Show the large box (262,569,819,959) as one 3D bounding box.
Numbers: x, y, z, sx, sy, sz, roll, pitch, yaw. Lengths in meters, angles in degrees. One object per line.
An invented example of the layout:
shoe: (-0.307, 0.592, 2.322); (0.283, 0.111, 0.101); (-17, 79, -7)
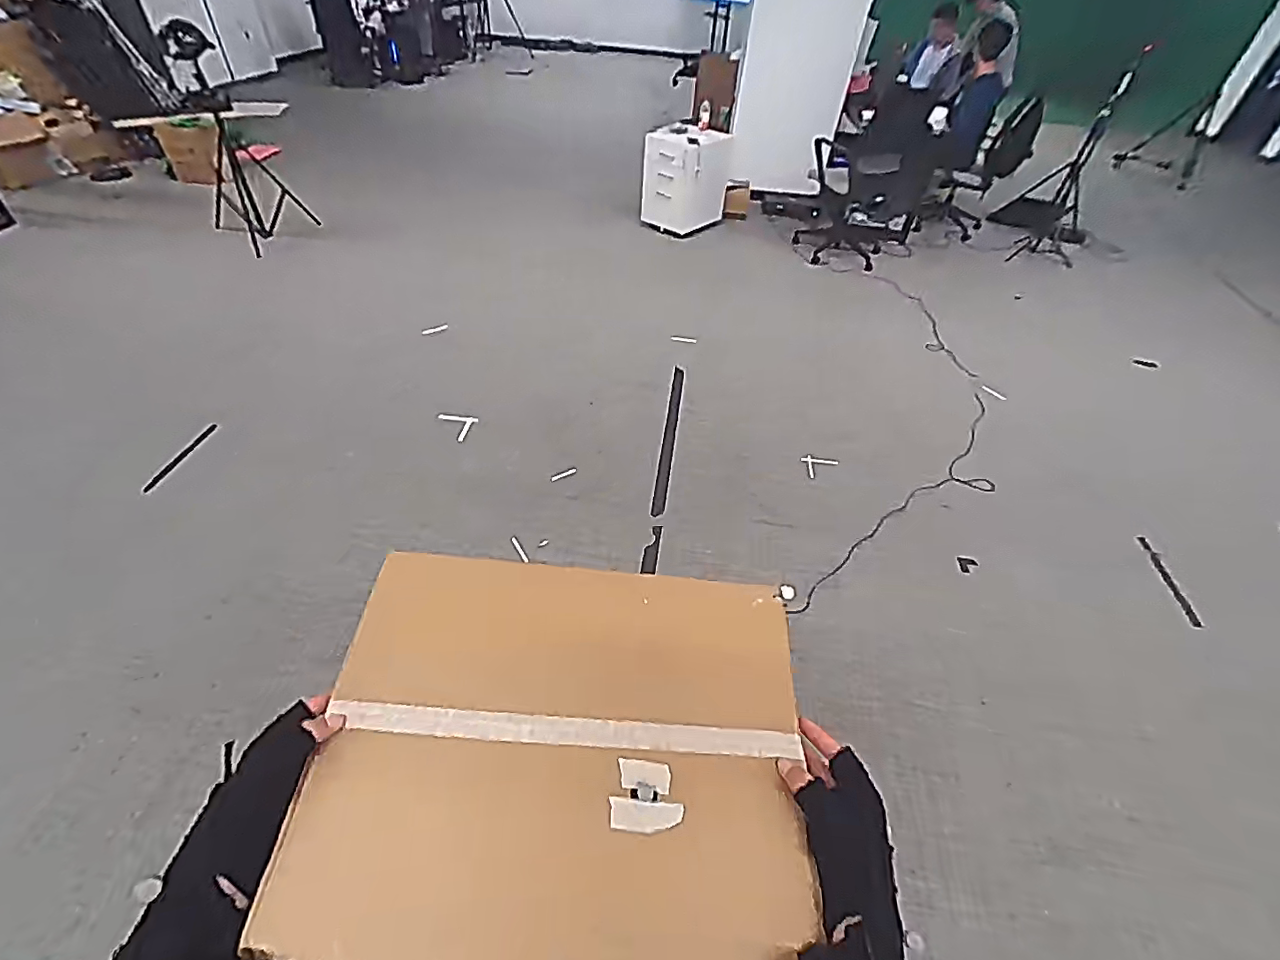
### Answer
large box: (-0.077, 0.319, 0.589); (0.408, 0.320, 0.320); (6, 52, -4)
